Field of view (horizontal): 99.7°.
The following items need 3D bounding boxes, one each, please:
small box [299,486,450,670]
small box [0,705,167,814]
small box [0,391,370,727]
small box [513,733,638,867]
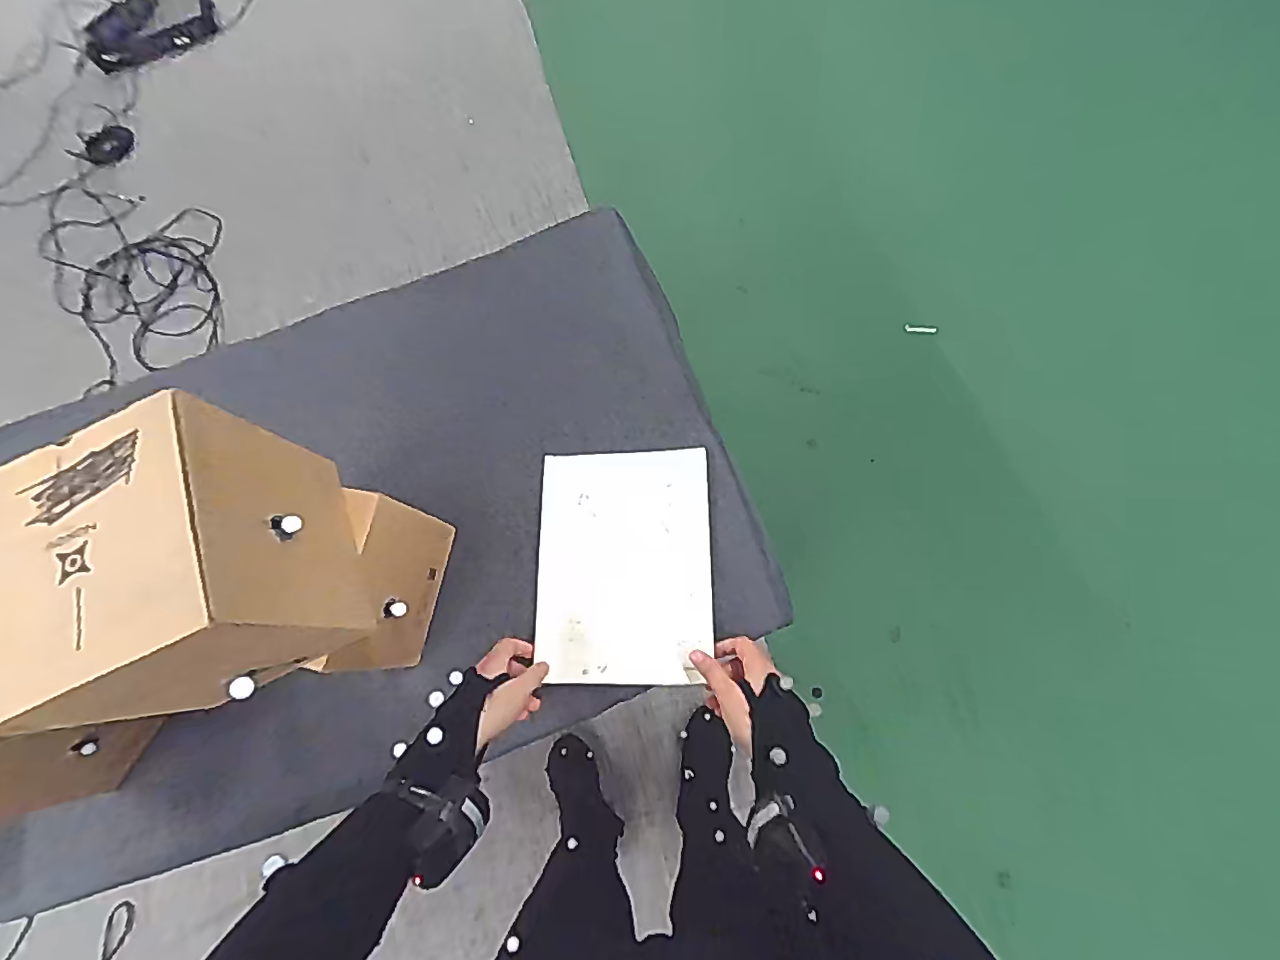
[{"bbox_3d":[-0.334,0.097,0.582,0.179,0.176,0.168,8,75,10],"label":"small box"},{"bbox_3d":[-0.652,0.228,0.584,0.179,0.176,0.168,28,79,14],"label":"small box"},{"bbox_3d":[-0.348,0.066,0.420,0.168,0.176,0.179,-25,73,1],"label":"small box"},{"bbox_3d":[-0.128,0.661,1.133,0.176,0.168,0.179,40,55,-15],"label":"small box"}]
